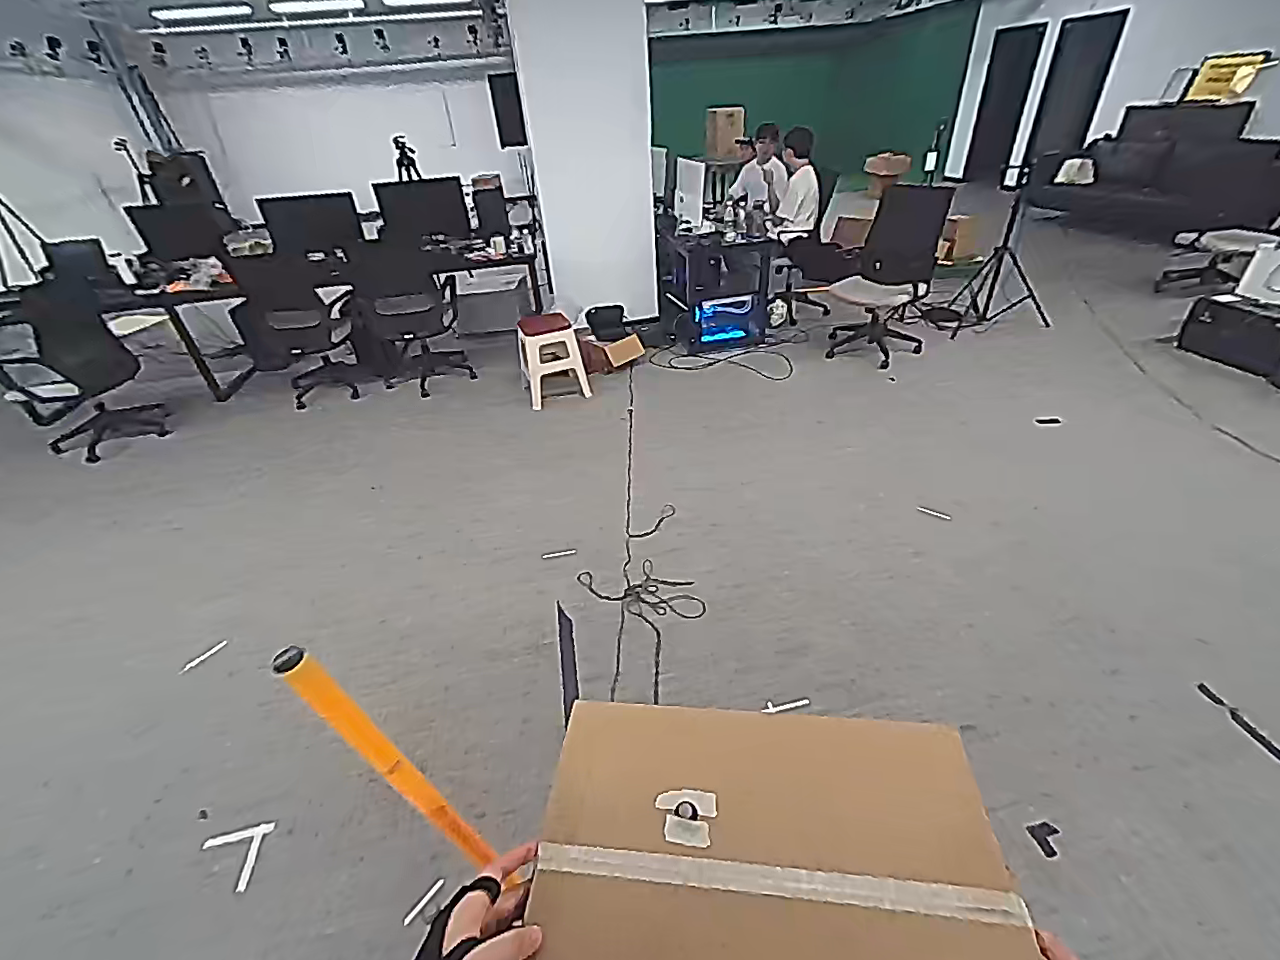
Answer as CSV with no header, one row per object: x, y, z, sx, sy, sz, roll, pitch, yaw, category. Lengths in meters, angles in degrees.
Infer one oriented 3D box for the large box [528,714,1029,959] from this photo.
0.128,0.473,0.564,0.408,0.320,0.320,-2,35,9,large box
